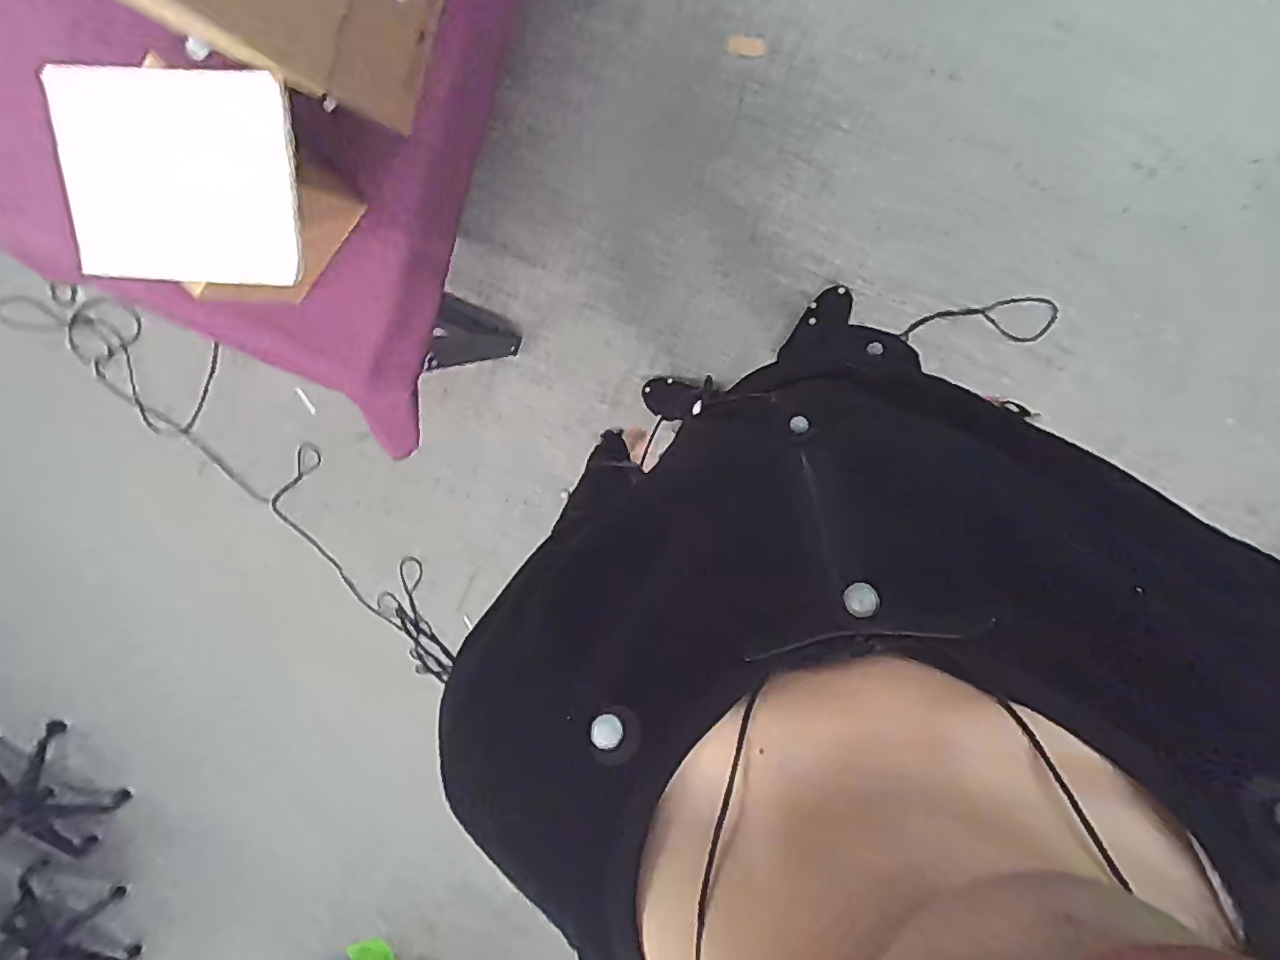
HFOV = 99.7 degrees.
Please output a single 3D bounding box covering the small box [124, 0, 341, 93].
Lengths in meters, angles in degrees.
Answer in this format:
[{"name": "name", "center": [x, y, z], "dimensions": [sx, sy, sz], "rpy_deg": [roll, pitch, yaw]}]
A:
[{"name": "small box", "center": [-0.366, -0.469, 0.439], "dimensions": [0.168, 0.176, 0.179], "rpy_deg": [25, 107, 0]}]
